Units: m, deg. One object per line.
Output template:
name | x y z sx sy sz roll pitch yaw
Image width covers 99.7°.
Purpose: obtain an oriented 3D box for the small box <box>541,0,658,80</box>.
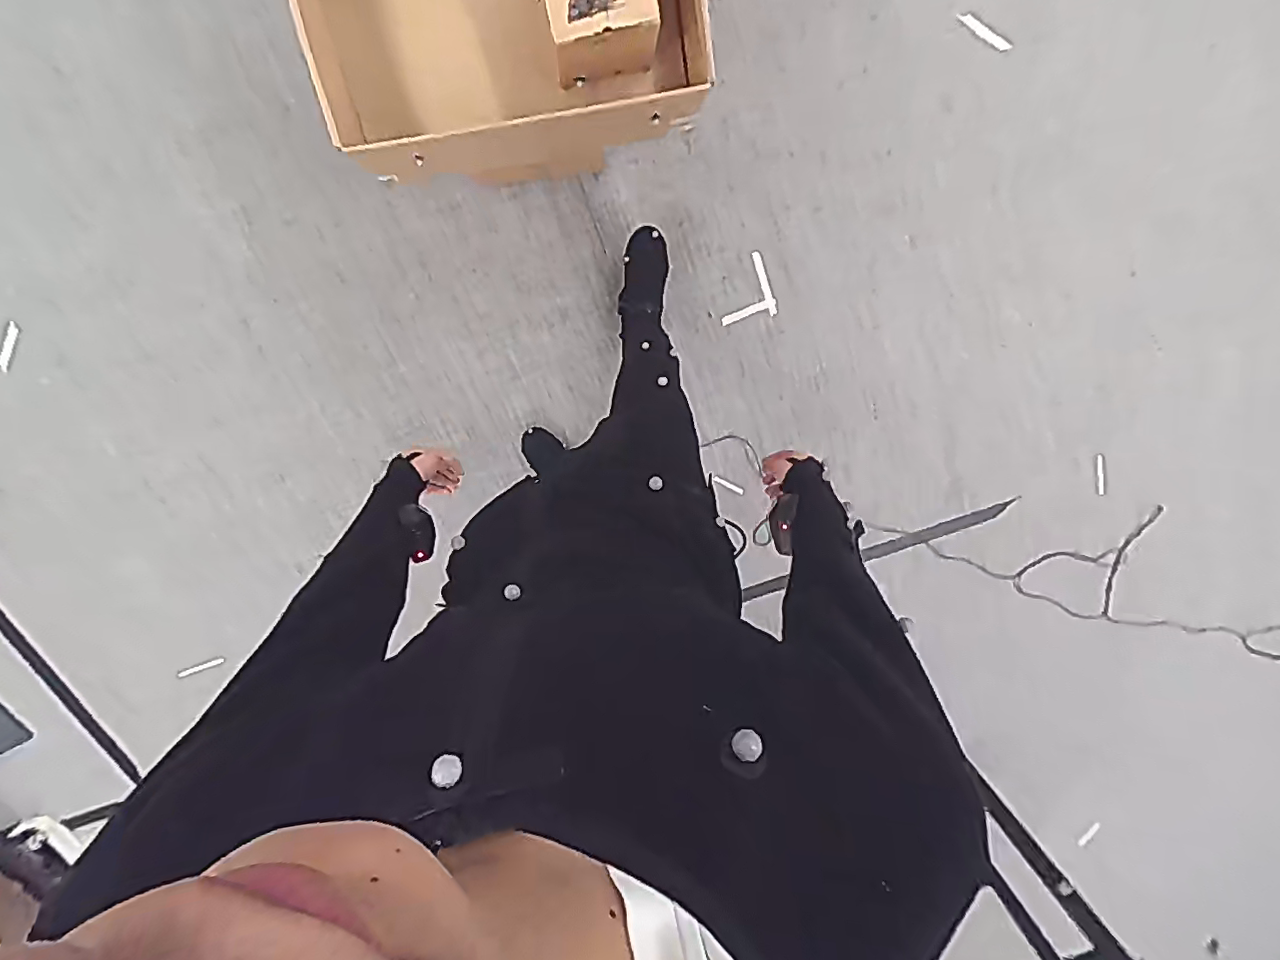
small box | -0.072 -0.765 0.848 0.168 0.176 0.179 -14 106 0
